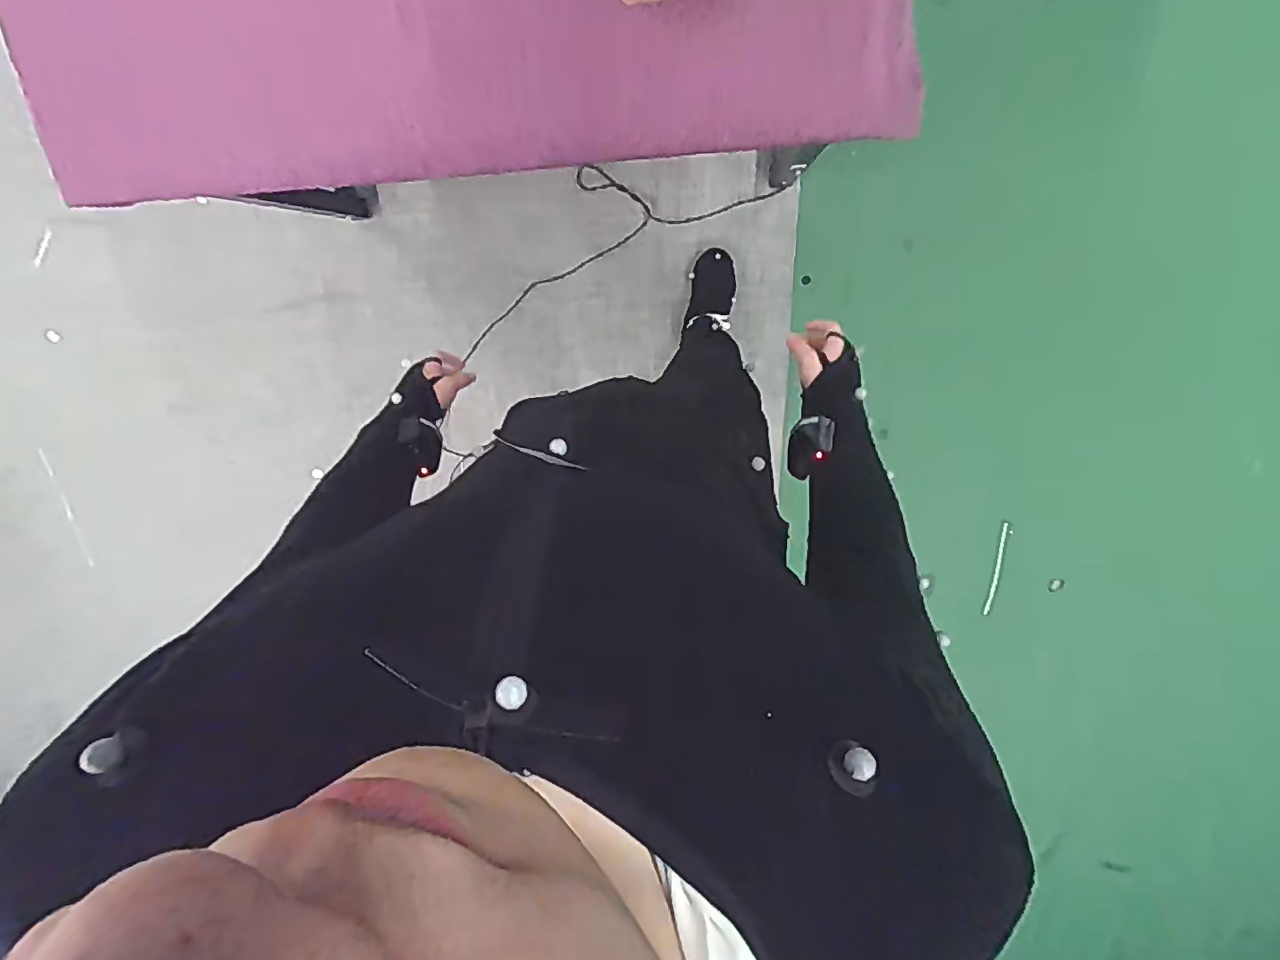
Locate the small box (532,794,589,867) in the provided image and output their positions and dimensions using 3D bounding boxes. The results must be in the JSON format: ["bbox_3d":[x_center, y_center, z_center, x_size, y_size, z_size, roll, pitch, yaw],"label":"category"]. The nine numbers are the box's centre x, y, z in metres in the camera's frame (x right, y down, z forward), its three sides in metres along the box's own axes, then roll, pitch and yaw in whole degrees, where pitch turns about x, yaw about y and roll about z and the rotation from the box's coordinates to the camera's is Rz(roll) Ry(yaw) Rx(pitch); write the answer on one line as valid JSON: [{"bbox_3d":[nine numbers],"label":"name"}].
[{"bbox_3d":[-0.302,1.358,2.096,0.168,0.176,0.179,-6,109,9],"label":"small box"}]
